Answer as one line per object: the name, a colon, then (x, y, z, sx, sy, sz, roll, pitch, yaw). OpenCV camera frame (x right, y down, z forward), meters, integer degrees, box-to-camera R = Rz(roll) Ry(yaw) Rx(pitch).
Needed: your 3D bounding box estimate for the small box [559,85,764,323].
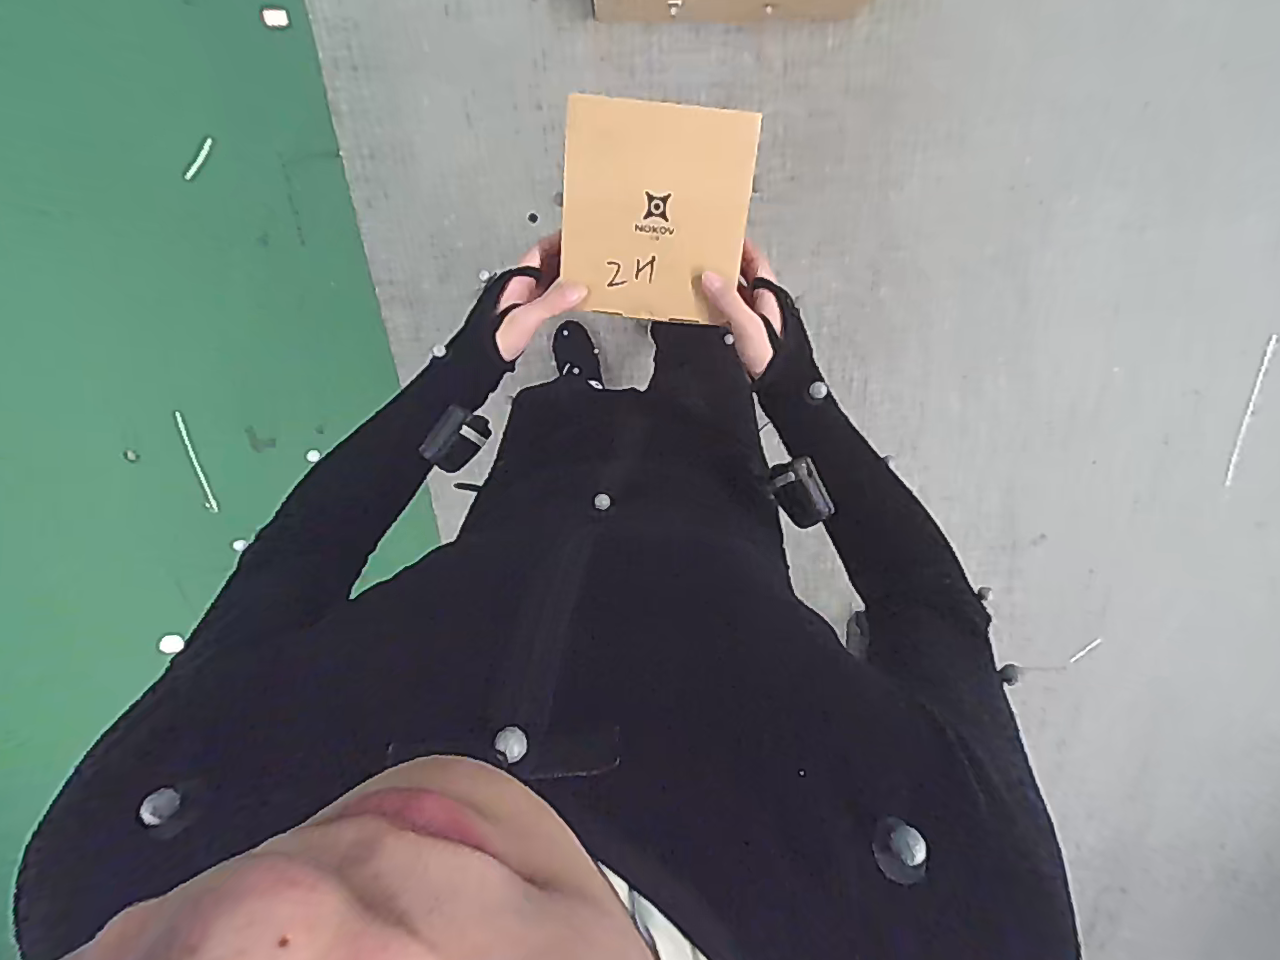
small box: (0.015, -0.264, 0.552, 0.168, 0.176, 0.179, 6, 111, -1)
